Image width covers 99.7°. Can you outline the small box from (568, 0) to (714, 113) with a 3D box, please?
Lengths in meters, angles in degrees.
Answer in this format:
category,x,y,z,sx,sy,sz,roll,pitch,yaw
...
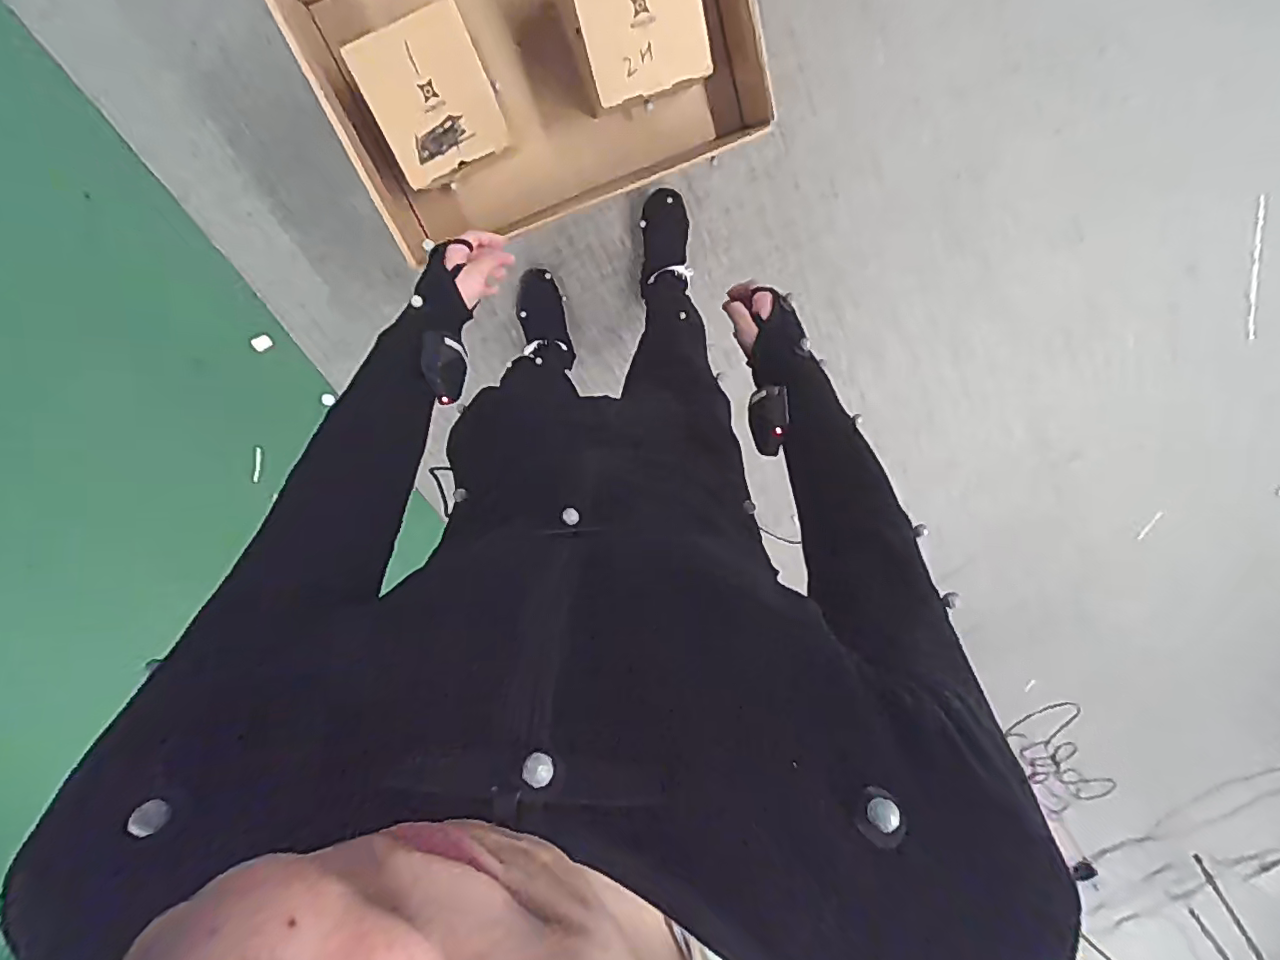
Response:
category,x,y,z,sx,sy,sz,roll,pitch,yaw
small box,-0.006,-0.654,0.772,0.168,0.176,0.179,-16,121,2
